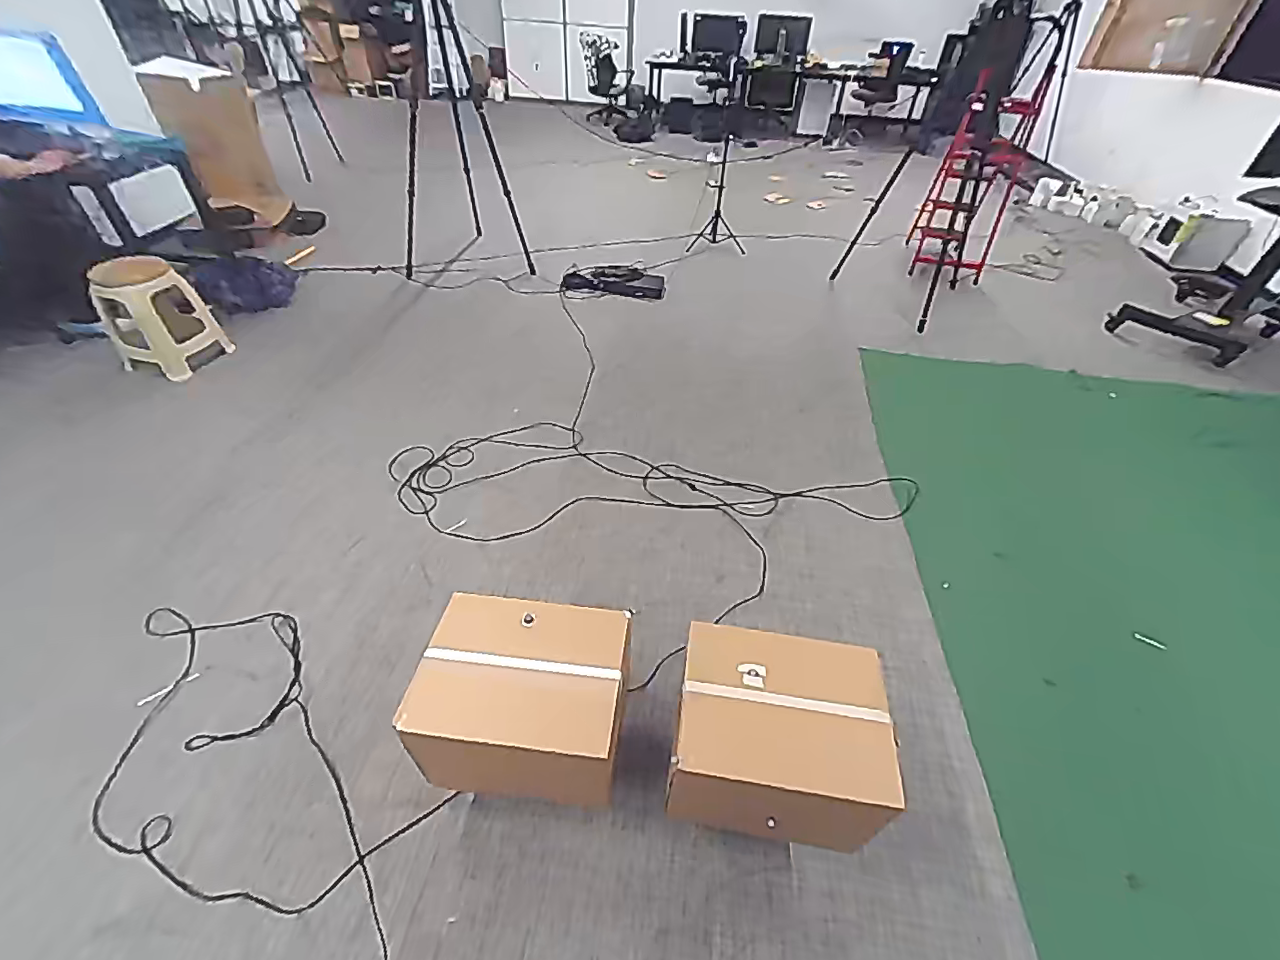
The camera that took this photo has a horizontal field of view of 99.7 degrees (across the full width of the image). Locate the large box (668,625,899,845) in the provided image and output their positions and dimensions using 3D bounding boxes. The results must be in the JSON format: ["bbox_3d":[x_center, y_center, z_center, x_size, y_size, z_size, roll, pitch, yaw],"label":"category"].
[{"bbox_3d":[0.283,0.556,1.180,0.408,0.320,0.320,7,43,5],"label":"large box"}]
